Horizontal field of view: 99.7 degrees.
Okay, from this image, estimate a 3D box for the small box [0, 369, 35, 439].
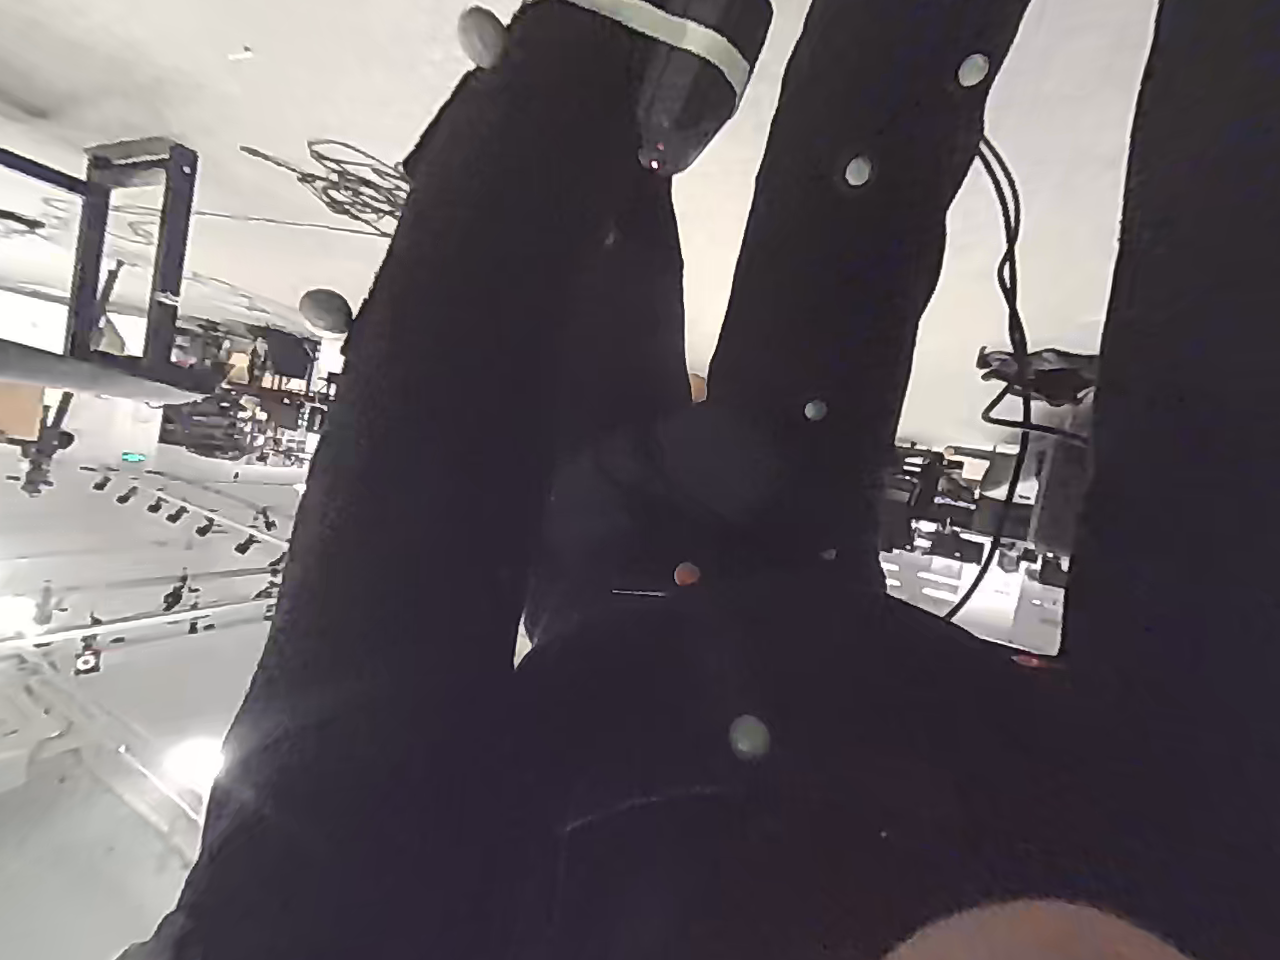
[{"bbox_3d":[-1.753,-0.213,1.433,0.179,0.176,0.168,14,-177,31],"label":"small box"}]
